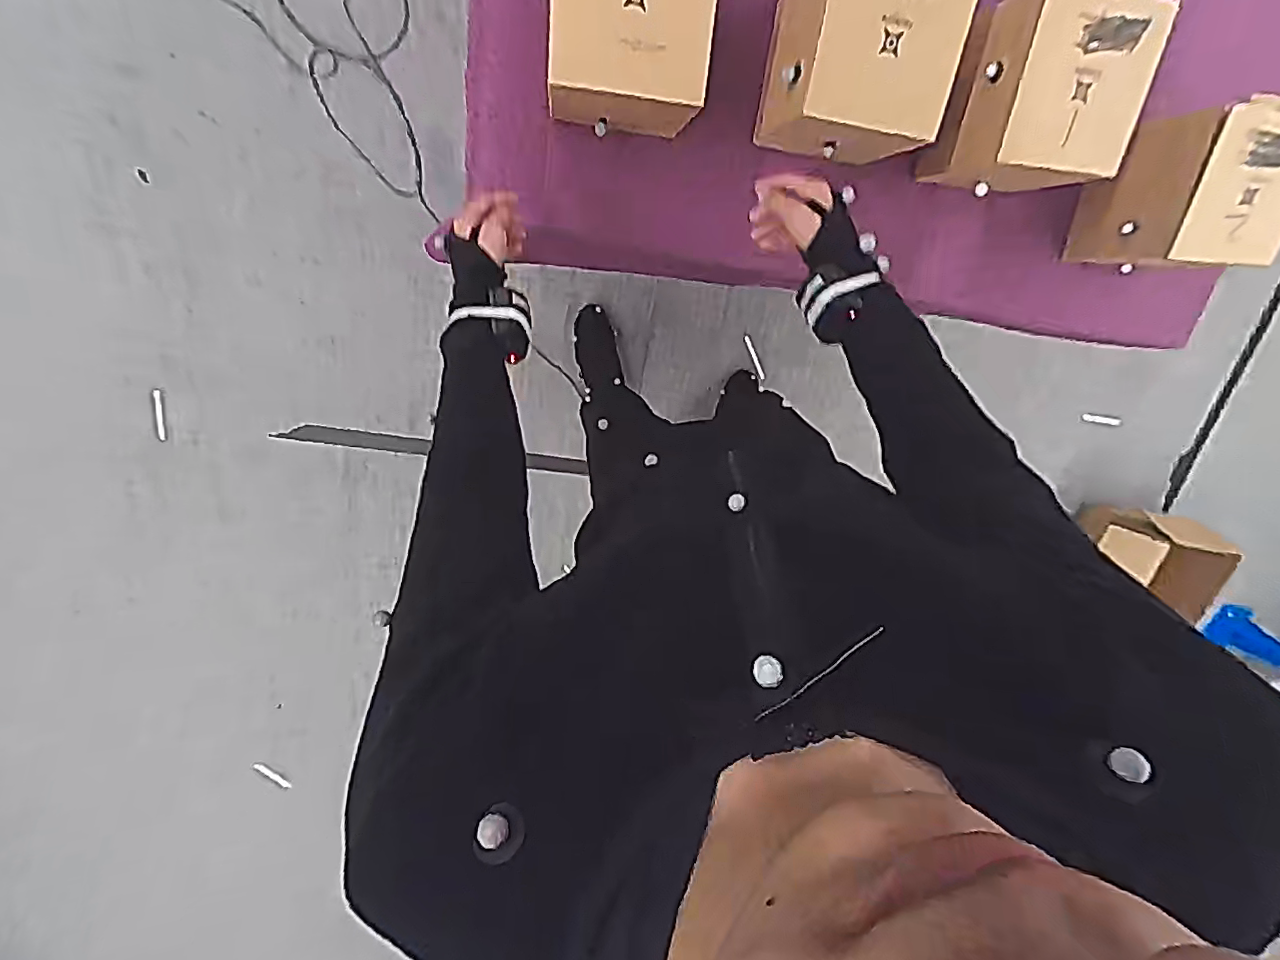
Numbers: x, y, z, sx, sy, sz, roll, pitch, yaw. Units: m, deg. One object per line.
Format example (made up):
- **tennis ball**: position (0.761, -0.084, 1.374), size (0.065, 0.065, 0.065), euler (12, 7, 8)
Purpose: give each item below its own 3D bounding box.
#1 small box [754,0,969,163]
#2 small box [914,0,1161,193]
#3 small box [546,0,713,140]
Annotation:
- **small box**: position (0.252, -0.503, 0.653), size (0.168, 0.176, 0.179), euler (4, 111, -11)
- **small box**: position (0.489, -0.485, 0.698), size (0.168, 0.176, 0.179), euler (1, 112, -10)
- **small box**: position (-0.019, -0.510, 0.607), size (0.168, 0.176, 0.179), euler (2, 111, -9)
